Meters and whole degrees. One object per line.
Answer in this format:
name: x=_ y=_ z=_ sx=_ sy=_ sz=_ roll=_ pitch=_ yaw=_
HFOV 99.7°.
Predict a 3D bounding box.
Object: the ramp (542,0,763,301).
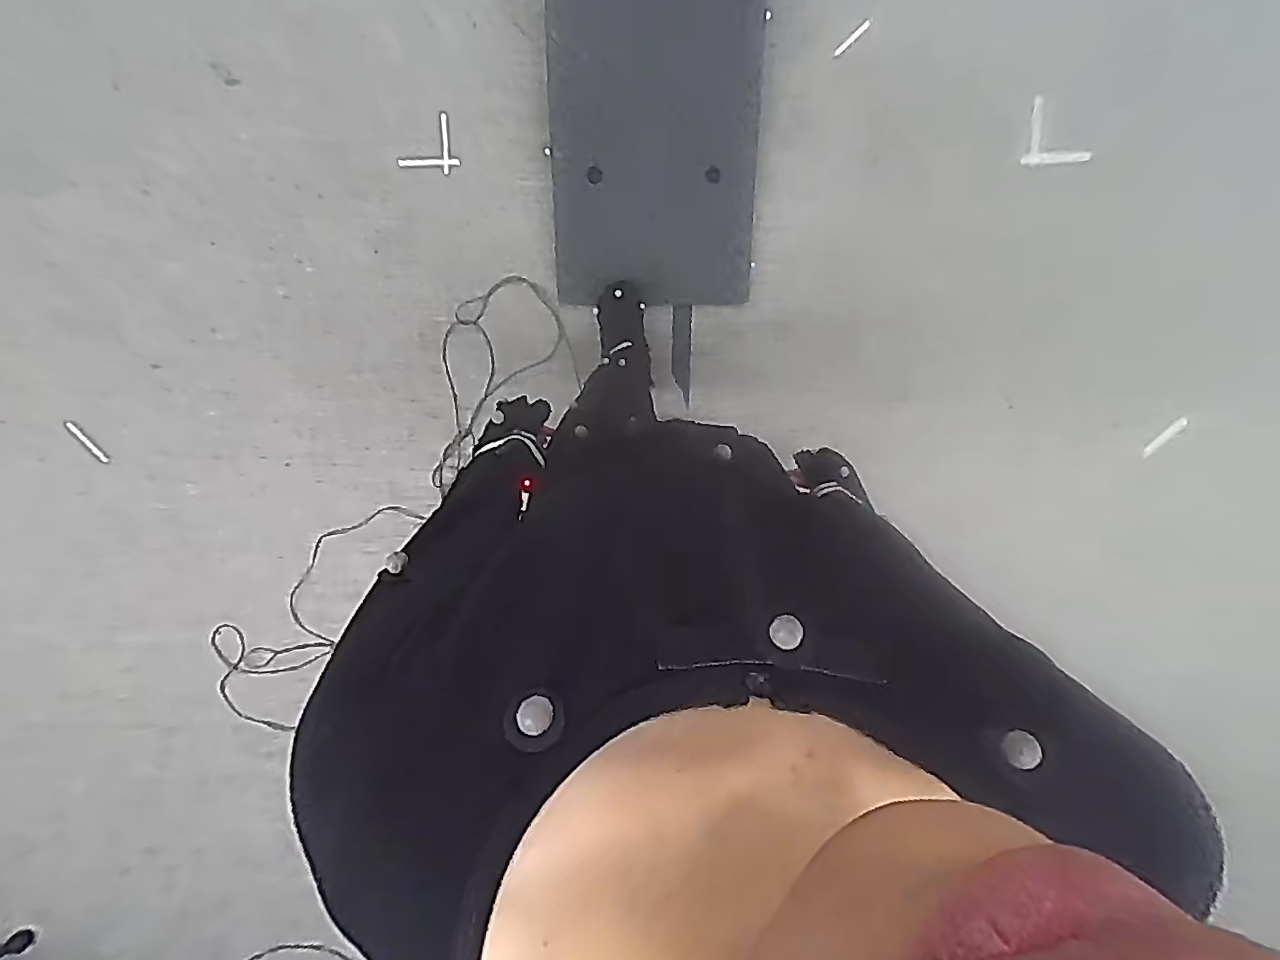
ramp: x=0.030 y=-0.935 z=1.231 sx=0.509 sy=0.206 sz=0.991 roll=-2 pitch=100 yaw=-1
